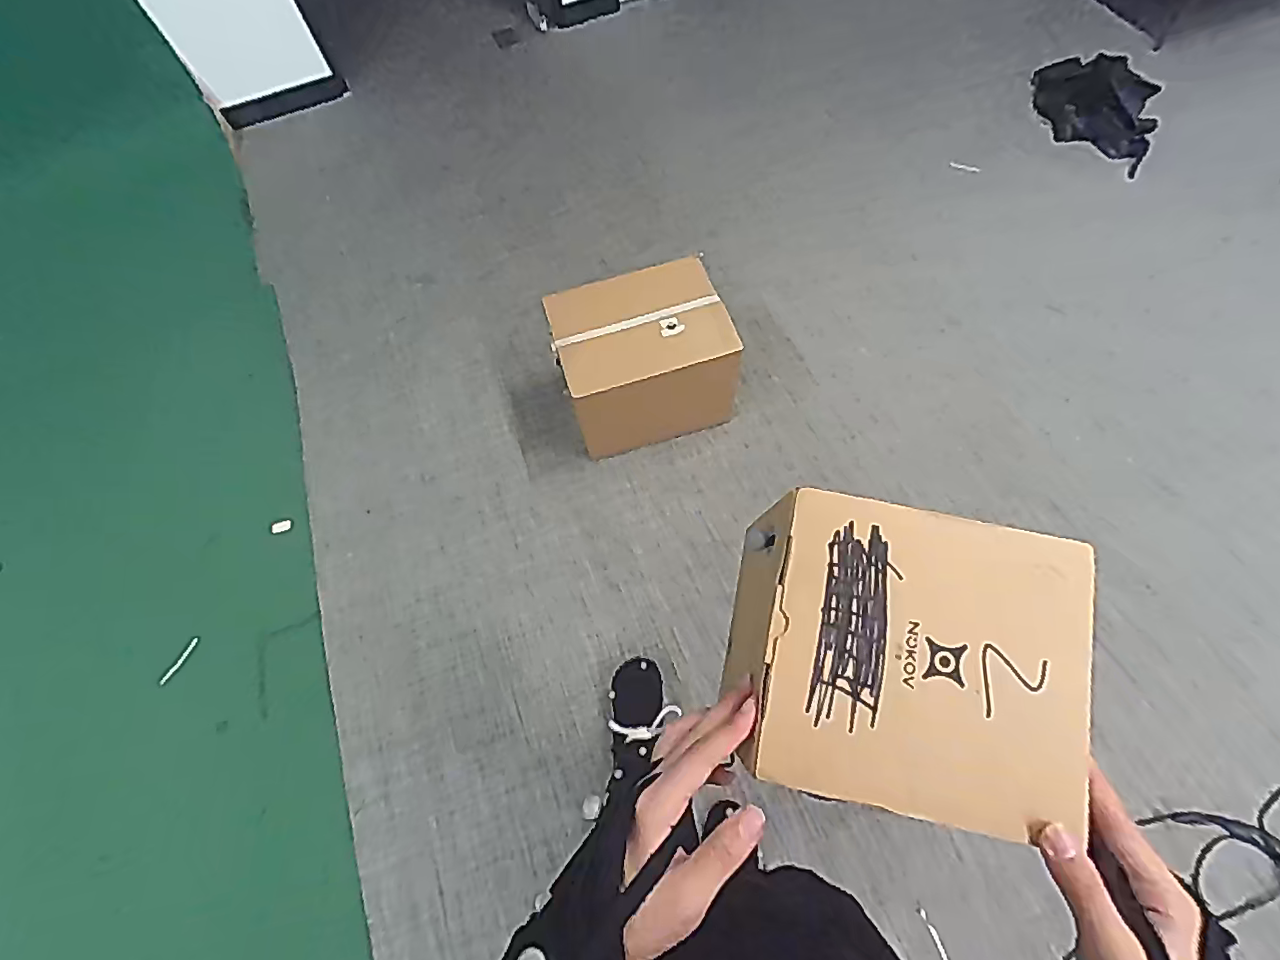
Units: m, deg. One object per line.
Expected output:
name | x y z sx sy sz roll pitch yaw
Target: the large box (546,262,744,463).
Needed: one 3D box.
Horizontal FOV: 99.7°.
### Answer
large box | 0.010 -0.290 1.393 0.408 0.320 0.320 -17 65 -5
